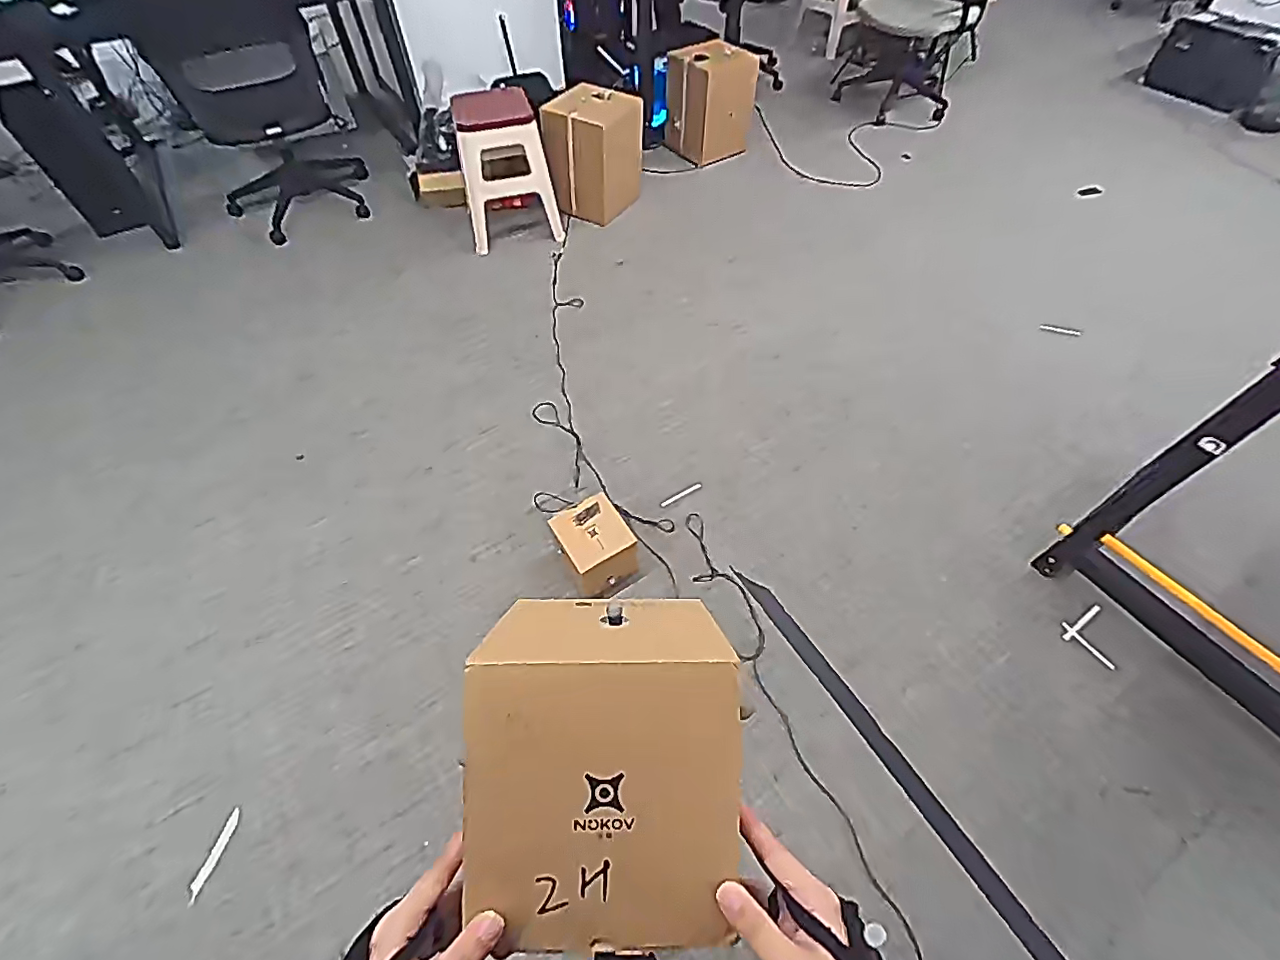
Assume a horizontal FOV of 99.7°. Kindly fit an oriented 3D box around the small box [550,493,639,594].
[{"bbox_3d":[-0.117,0.173,1.410,0.168,0.176,0.179,-28,61,-18],"label":"small box"}]

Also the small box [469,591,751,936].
[{"bbox_3d":[-0.019,0.181,0.399,0.168,0.176,0.179,1,89,-2],"label":"small box"}]
